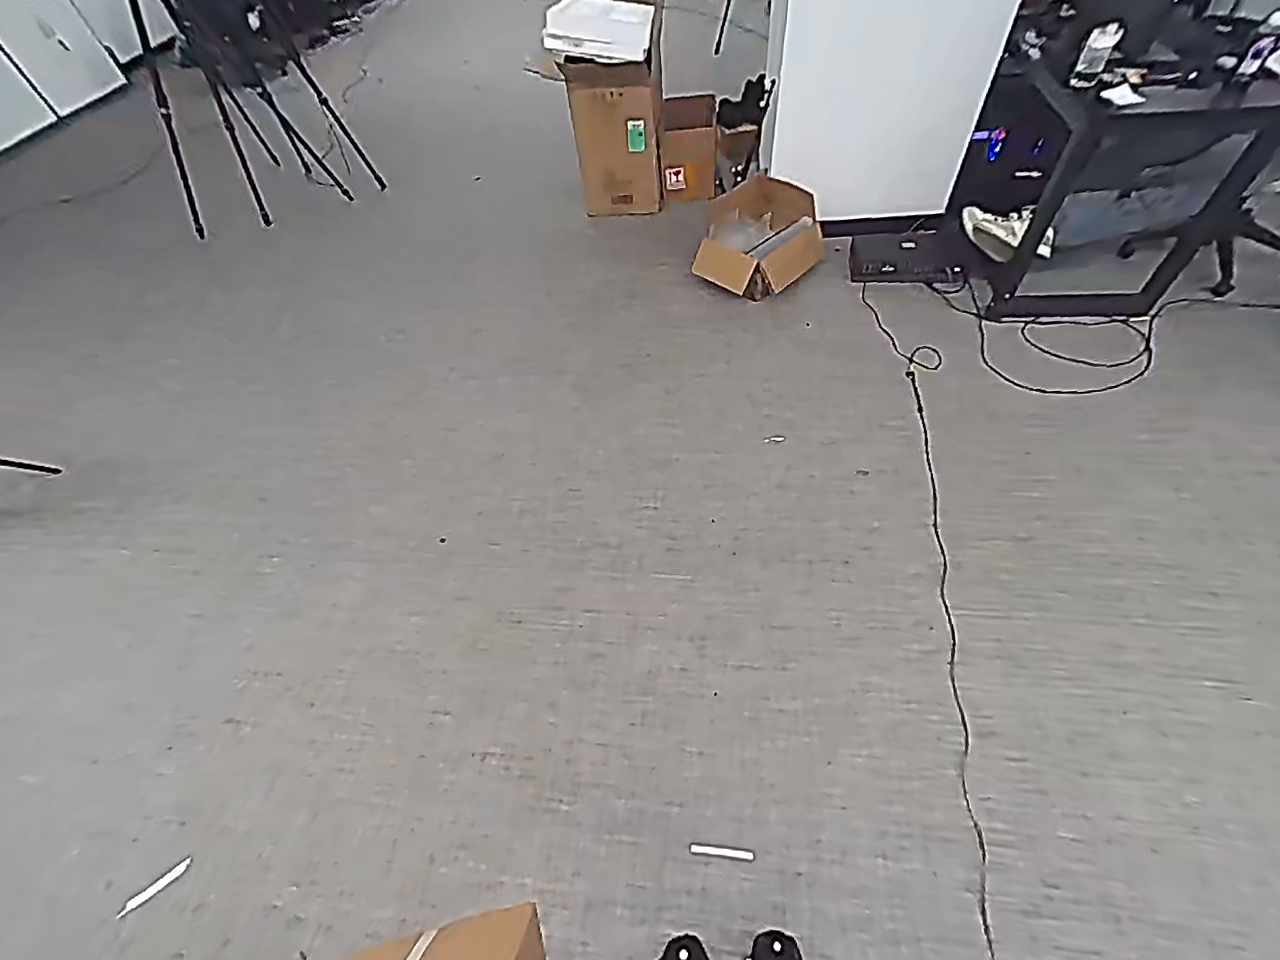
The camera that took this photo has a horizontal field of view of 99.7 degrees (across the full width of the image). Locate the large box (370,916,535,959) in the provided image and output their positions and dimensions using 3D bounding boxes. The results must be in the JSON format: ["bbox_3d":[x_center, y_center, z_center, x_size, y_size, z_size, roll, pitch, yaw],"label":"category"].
[{"bbox_3d":[-0.277,0.808,0.605,0.320,0.408,0.320,-15,77,-4],"label":"large box"}]
